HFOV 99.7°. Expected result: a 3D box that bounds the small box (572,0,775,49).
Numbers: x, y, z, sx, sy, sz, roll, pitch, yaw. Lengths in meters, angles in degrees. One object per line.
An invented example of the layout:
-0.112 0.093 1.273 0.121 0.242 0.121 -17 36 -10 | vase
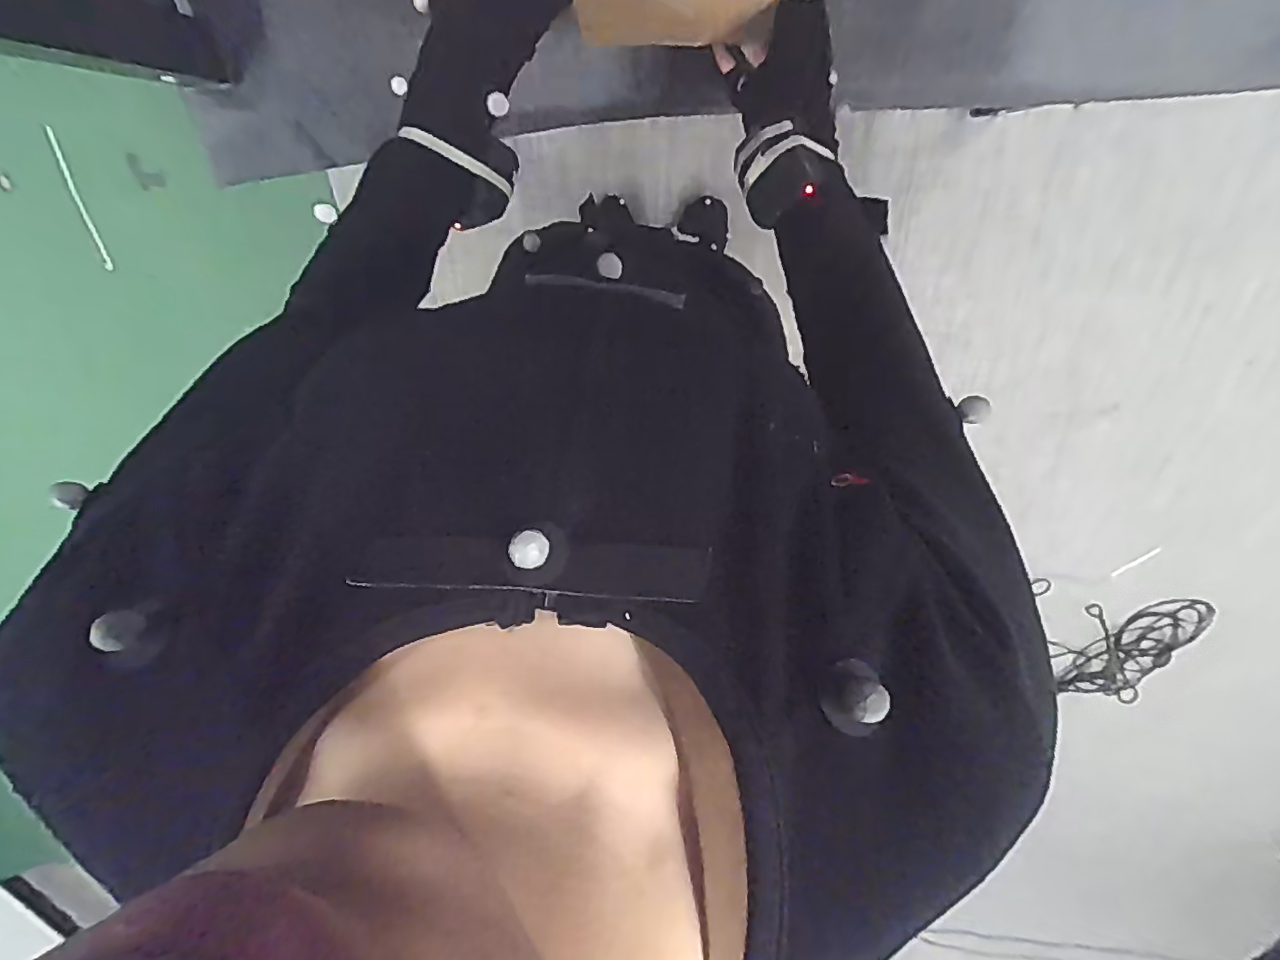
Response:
0.026 -0.458 0.391 0.168 0.179 0.176 2 102 4 | small box
